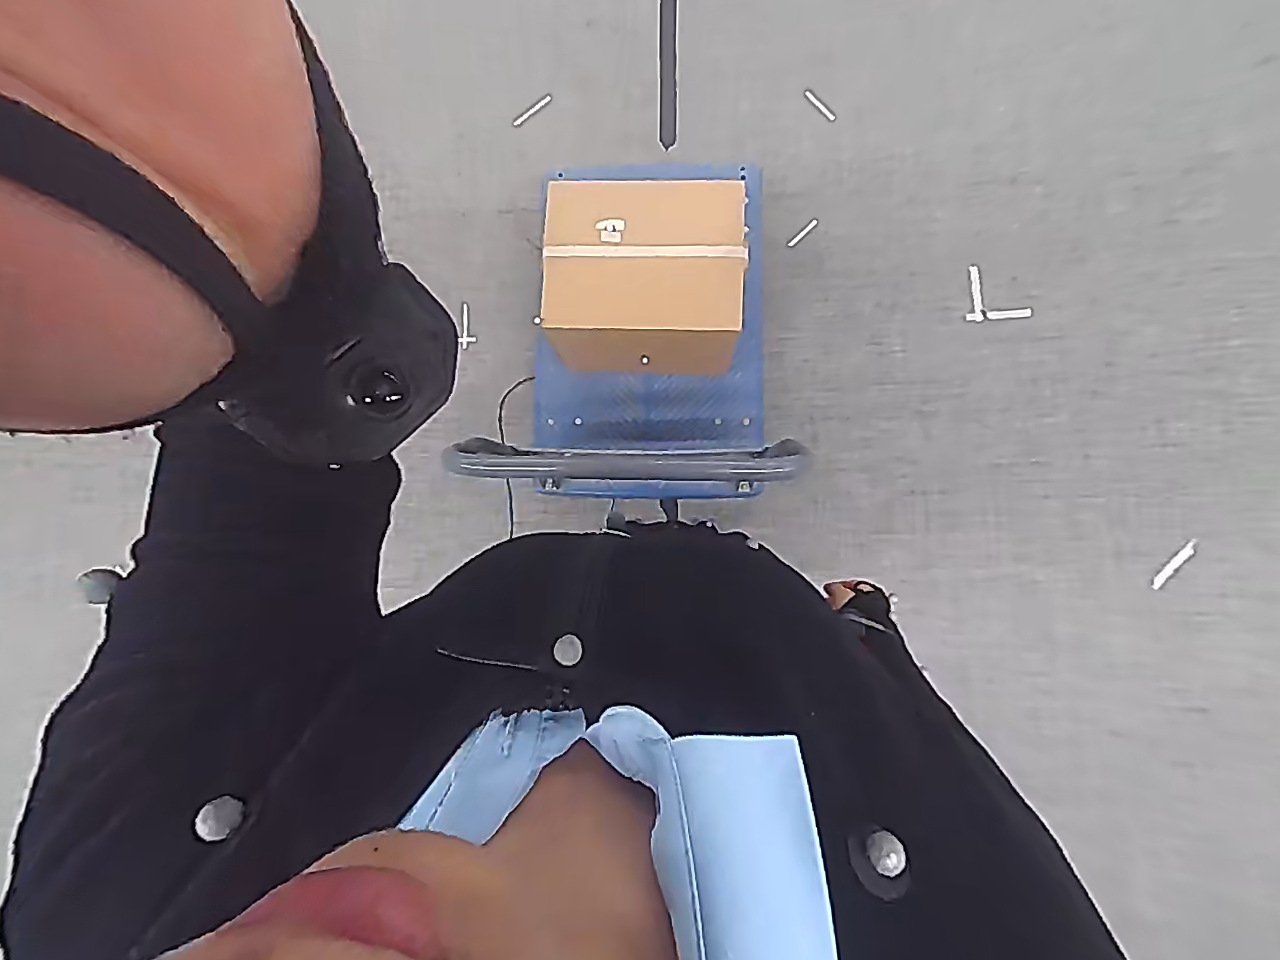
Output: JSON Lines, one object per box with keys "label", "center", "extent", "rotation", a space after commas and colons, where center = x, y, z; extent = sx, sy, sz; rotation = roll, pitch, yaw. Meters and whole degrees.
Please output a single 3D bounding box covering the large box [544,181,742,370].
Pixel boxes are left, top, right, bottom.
{"label": "large box", "center": [0.019, -0.445, 1.246], "extent": [0.408, 0.320, 0.320], "rotation": [2, 84, 5]}
